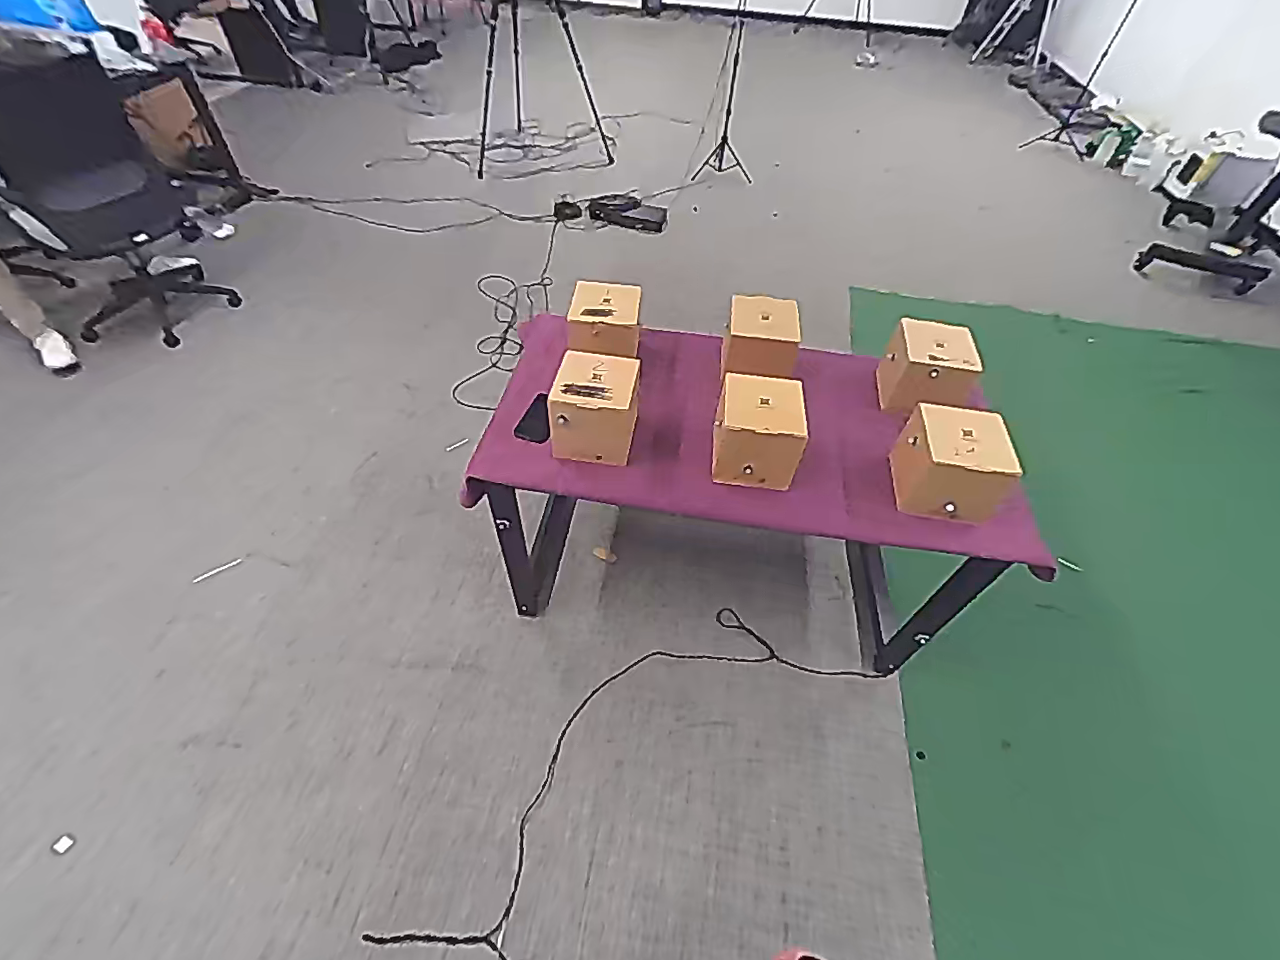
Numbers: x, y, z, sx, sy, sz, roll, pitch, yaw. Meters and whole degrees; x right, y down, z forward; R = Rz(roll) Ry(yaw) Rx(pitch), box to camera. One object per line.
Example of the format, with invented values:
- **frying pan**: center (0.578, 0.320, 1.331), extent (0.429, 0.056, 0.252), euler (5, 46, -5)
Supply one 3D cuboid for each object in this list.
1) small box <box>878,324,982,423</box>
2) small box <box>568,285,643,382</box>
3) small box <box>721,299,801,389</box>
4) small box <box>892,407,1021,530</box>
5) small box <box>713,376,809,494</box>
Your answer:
- **small box**: center (0.704, -0.257, 1.339), extent (0.168, 0.176, 0.179), euler (10, 49, 6)
- **small box**: center (-0.085, -0.371, 1.379), extent (0.168, 0.176, 0.179), euler (6, 49, 0)
- **small box**: center (0.303, -0.334, 1.377), extent (0.168, 0.176, 0.179), euler (8, 50, 4)
- **small box**: center (0.646, -0.024, 1.131), extent (0.168, 0.176, 0.179), euler (10, 49, 6)
- **small box**: center (0.254, -0.097, 1.171), extent (0.168, 0.176, 0.179), euler (7, 49, 2)
